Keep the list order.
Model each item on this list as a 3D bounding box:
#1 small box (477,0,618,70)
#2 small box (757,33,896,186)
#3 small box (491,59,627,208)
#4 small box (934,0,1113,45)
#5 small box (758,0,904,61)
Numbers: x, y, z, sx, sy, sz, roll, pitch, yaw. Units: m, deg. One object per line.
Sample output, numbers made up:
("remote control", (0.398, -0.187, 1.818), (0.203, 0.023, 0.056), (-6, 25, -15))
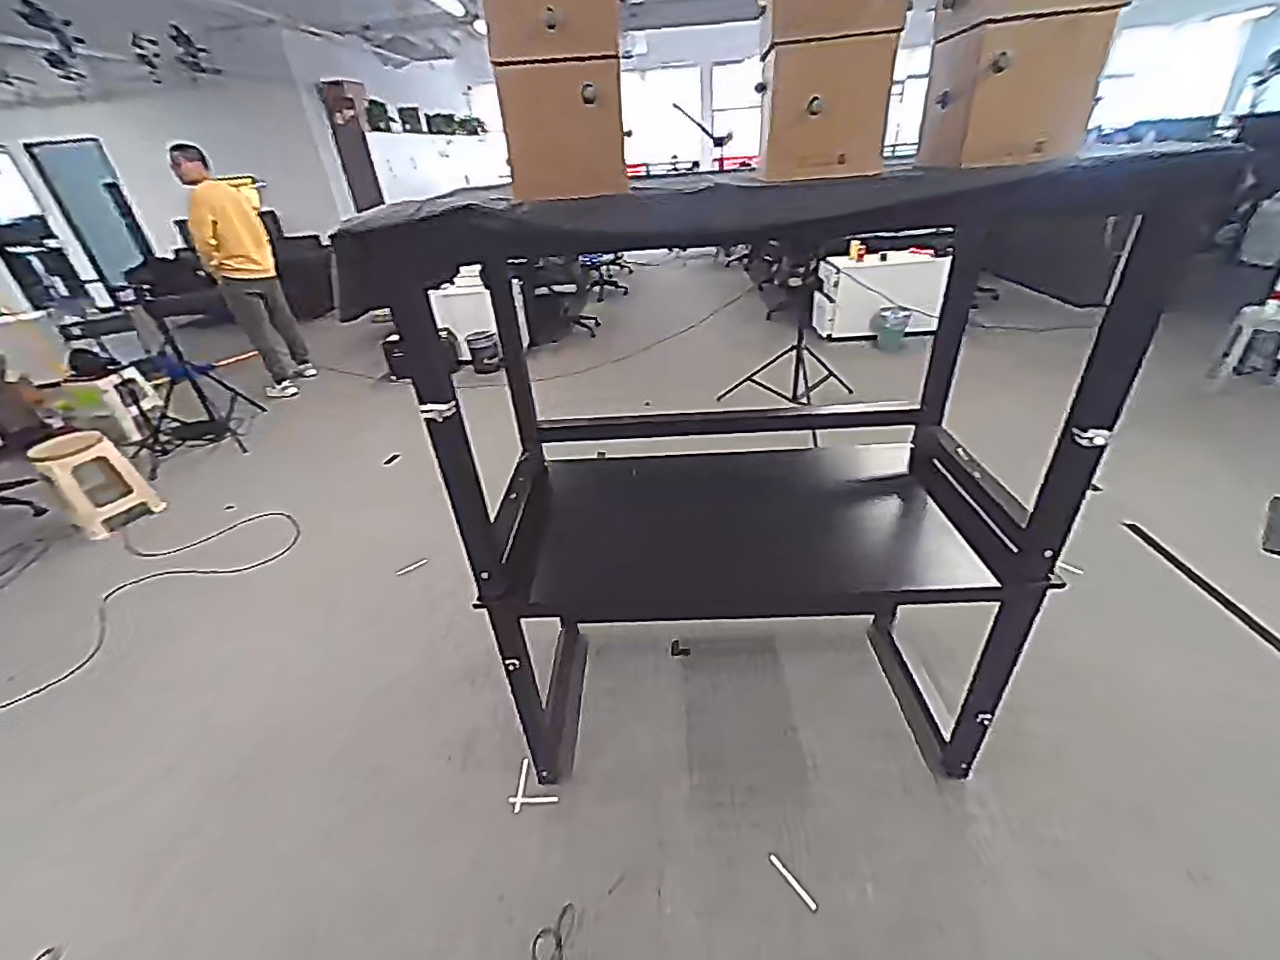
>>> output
("small box", (-0.121, -0.661, 0.740), (0.179, 0.176, 0.168), (-3, 30, 0))
("small box", (0.272, -0.553, 0.828), (0.168, 0.176, 0.179), (-1, 30, 6))
("small box", (-0.111, -0.523, 0.828), (0.179, 0.176, 0.168), (-5, 30, 0))
("small box", (0.517, -0.694, 0.708), (0.179, 0.176, 0.168), (-4, 29, 5))
("small box", (0.257, -0.689, 0.736), (0.179, 0.176, 0.168), (-2, 29, 7))
